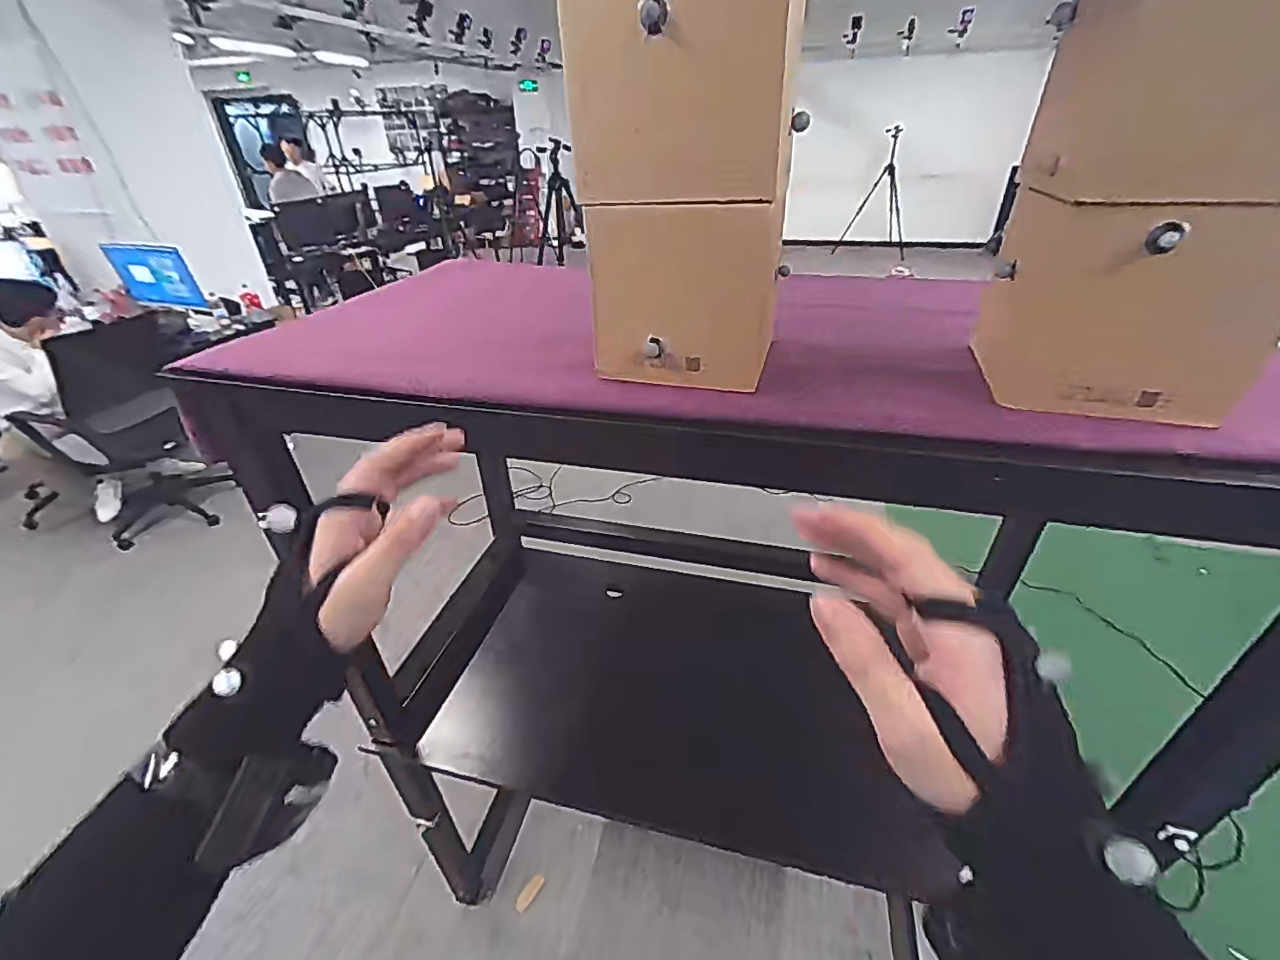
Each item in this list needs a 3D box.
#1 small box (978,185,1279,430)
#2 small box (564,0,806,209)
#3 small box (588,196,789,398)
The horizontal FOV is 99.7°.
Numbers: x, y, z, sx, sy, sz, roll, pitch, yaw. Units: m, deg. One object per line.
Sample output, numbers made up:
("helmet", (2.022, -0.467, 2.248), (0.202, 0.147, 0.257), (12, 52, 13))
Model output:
("small box", (0.426, -0.162, 0.483), (0.168, 0.176, 0.179), (8, 33, 17))
("small box", (0.047, -0.339, 0.480), (0.179, 0.176, 0.168), (7, 33, 16))
("small box", (0.057, -0.201, 0.569), (0.168, 0.176, 0.179), (7, 33, 17))
